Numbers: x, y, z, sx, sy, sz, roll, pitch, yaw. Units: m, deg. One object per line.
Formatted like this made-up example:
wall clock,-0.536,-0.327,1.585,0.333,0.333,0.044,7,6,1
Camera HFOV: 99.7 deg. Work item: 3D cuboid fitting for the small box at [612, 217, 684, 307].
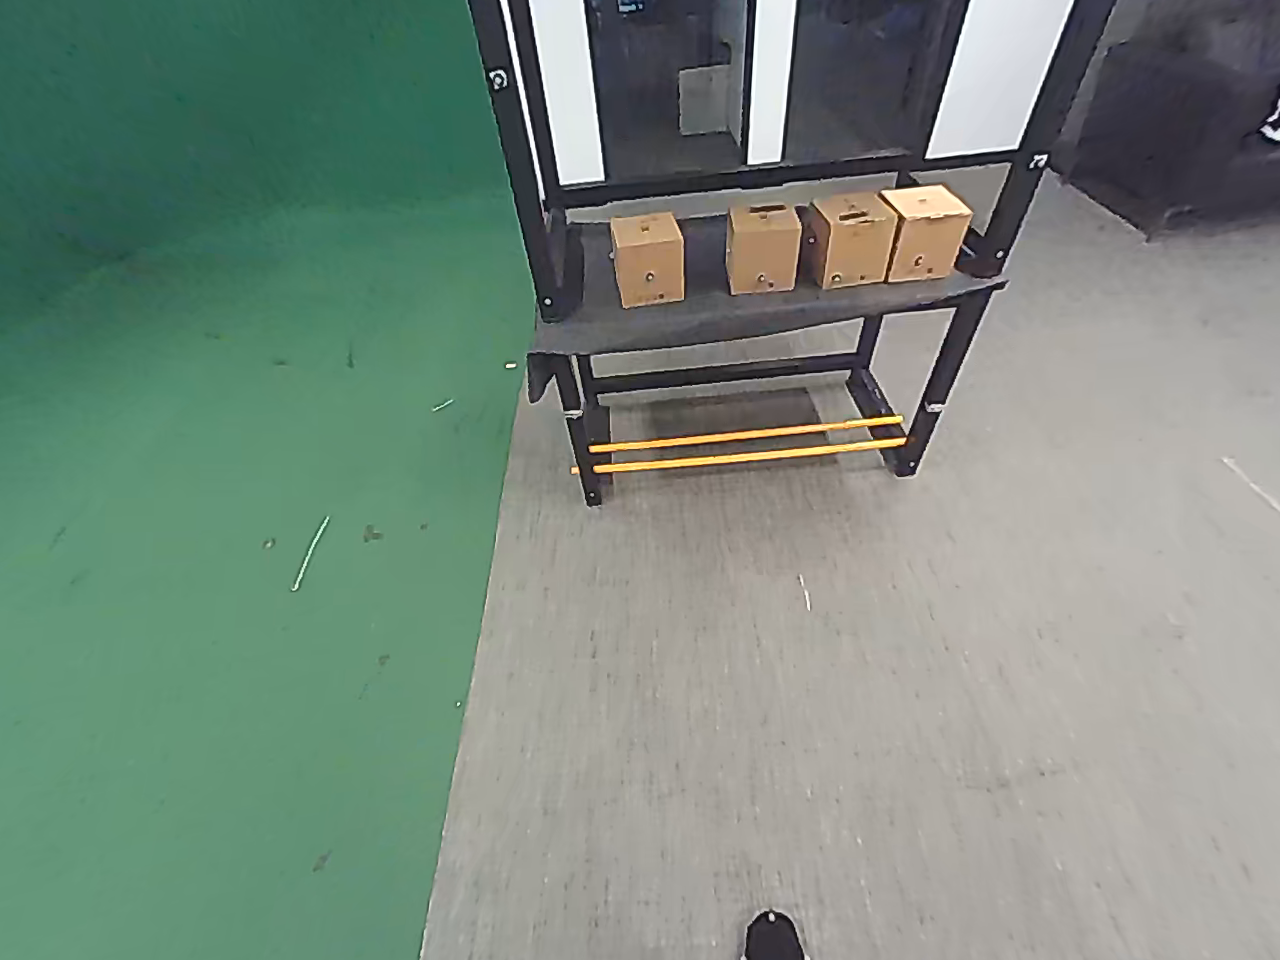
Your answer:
small box,0.022,-0.574,1.440,0.168,0.176,0.179,-8,46,-2
